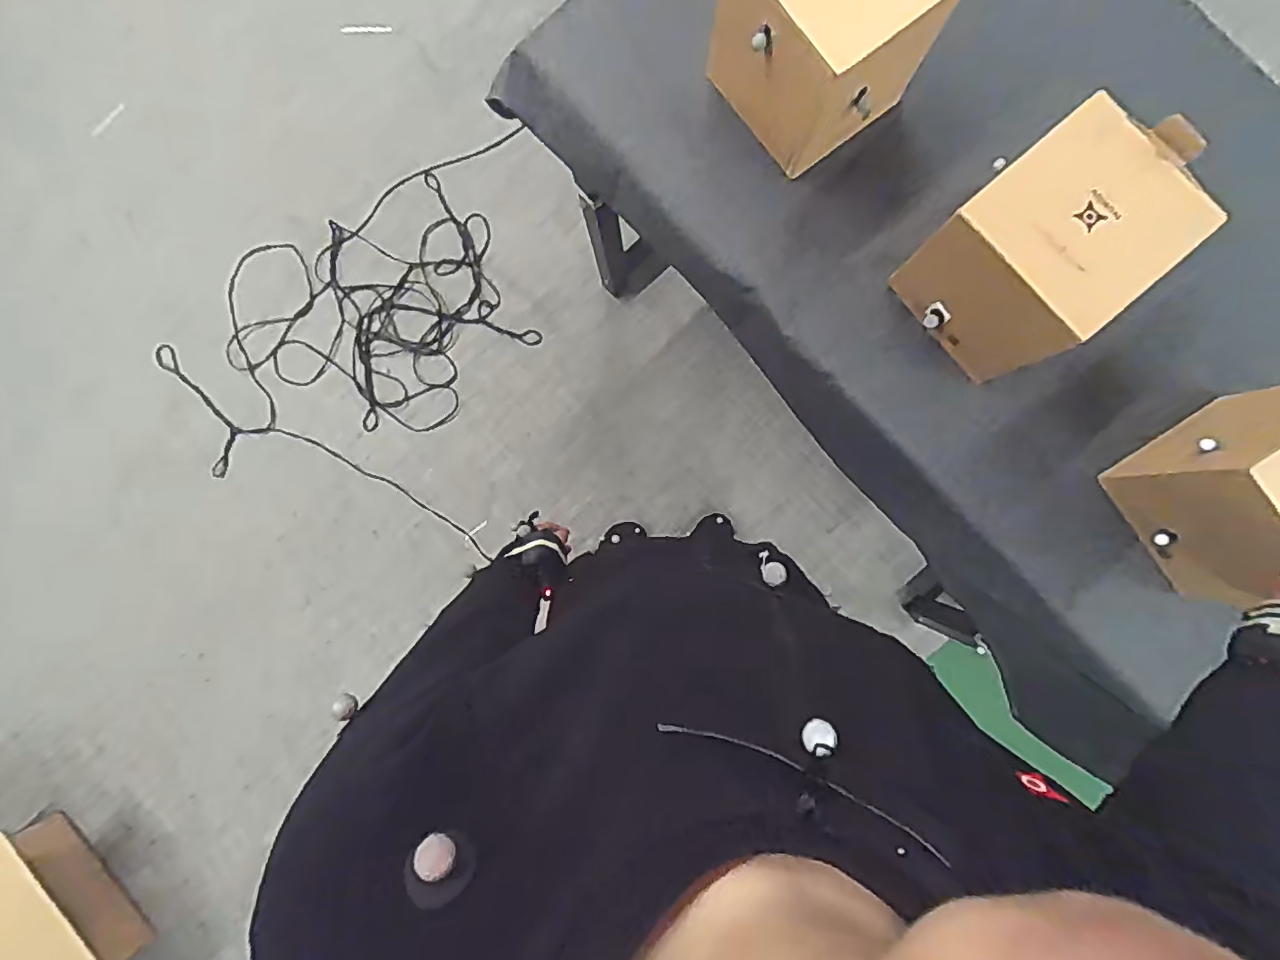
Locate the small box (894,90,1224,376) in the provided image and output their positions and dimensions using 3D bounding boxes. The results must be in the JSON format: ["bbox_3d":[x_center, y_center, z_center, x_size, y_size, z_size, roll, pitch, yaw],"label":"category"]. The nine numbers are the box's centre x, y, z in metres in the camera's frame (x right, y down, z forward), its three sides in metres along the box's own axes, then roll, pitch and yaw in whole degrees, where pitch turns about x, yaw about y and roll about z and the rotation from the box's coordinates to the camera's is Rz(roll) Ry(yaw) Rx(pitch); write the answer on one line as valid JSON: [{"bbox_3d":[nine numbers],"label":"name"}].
[{"bbox_3d":[0.411,-0.239,0.568,0.179,0.176,0.168,-42,86,0],"label":"small box"}]

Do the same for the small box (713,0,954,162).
[{"bbox_3d":[0.199,-0.487,0.585,0.168,0.176,0.179,-37,87,-1],"label":"small box"}]
